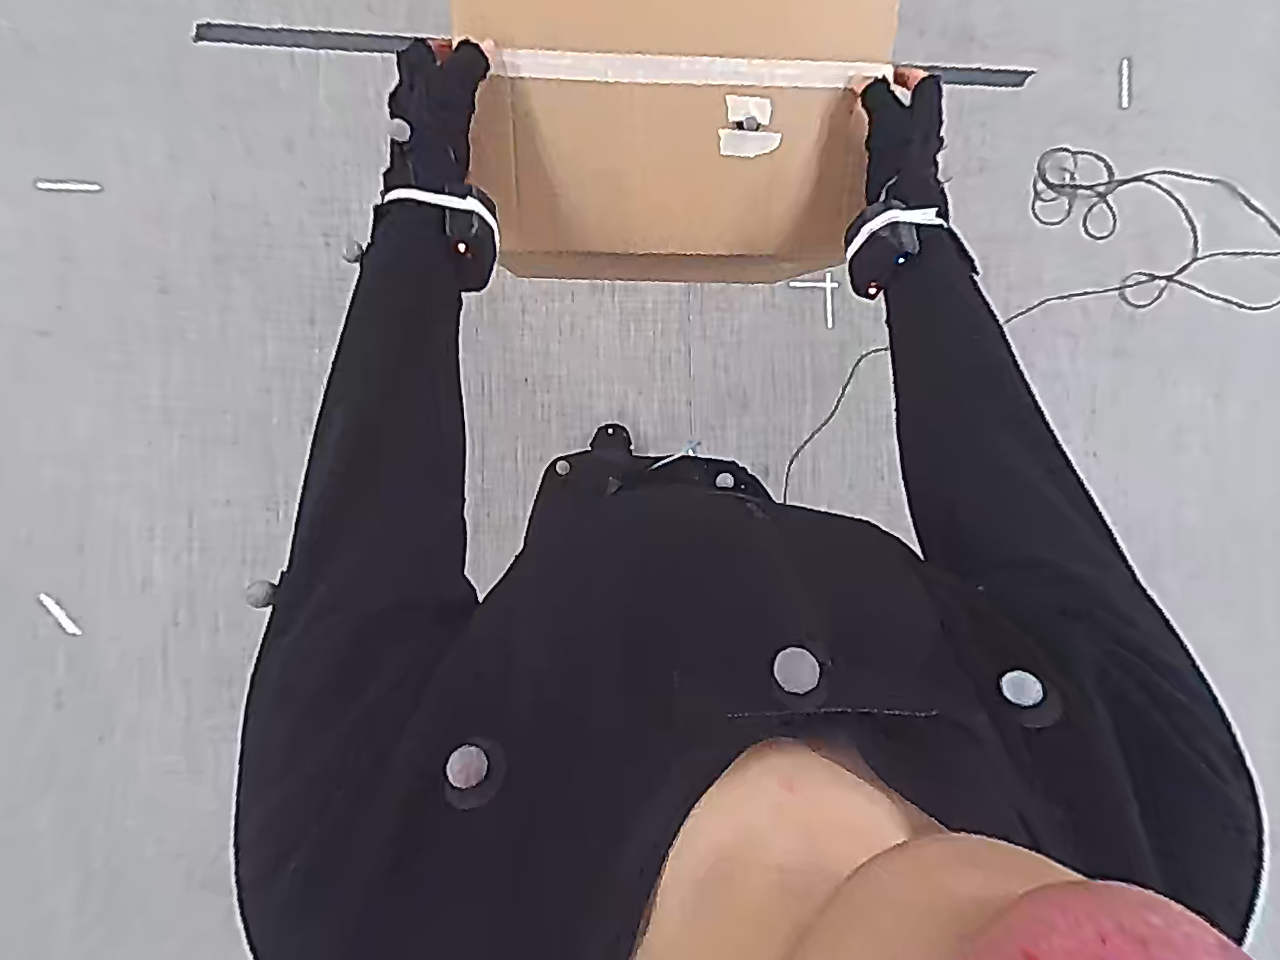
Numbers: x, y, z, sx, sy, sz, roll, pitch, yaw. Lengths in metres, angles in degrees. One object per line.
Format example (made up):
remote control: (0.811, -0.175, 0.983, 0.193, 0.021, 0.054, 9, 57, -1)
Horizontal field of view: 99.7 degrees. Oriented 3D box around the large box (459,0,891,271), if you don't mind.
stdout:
large box: (0.022, -0.431, 0.648, 0.408, 0.320, 0.320, 0, 106, -5)
